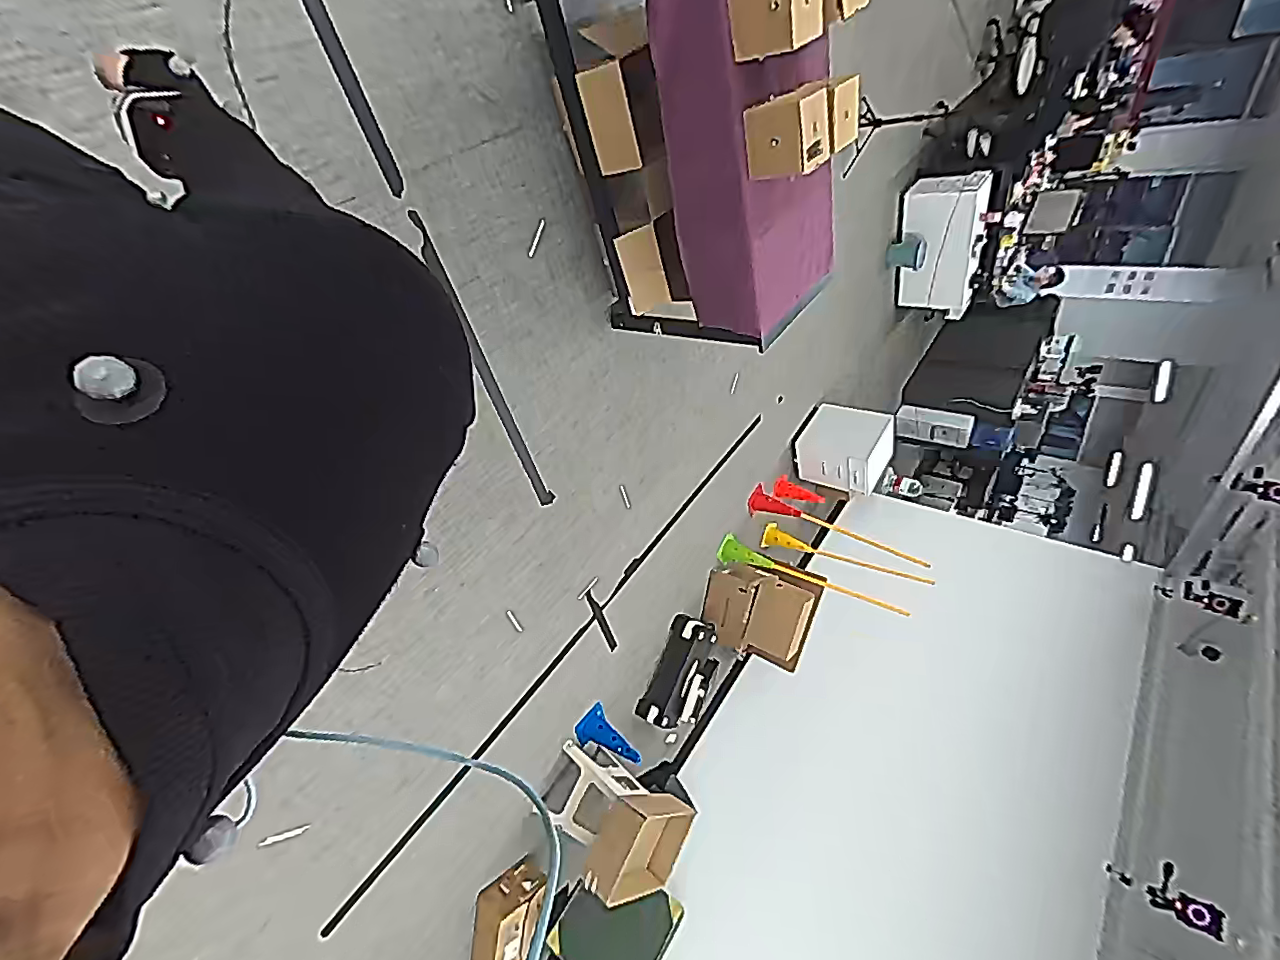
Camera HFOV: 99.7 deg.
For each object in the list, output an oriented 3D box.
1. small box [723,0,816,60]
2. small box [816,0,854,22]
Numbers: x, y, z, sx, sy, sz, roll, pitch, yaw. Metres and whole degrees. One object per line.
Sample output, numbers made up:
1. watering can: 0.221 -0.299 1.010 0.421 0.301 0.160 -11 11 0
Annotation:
1. small box: 0.317 -1.174 1.329 0.168 0.176 0.179 -47 138 -29
2. small box: 0.456 -1.338 1.441 0.168 0.176 0.179 -48 139 -28
